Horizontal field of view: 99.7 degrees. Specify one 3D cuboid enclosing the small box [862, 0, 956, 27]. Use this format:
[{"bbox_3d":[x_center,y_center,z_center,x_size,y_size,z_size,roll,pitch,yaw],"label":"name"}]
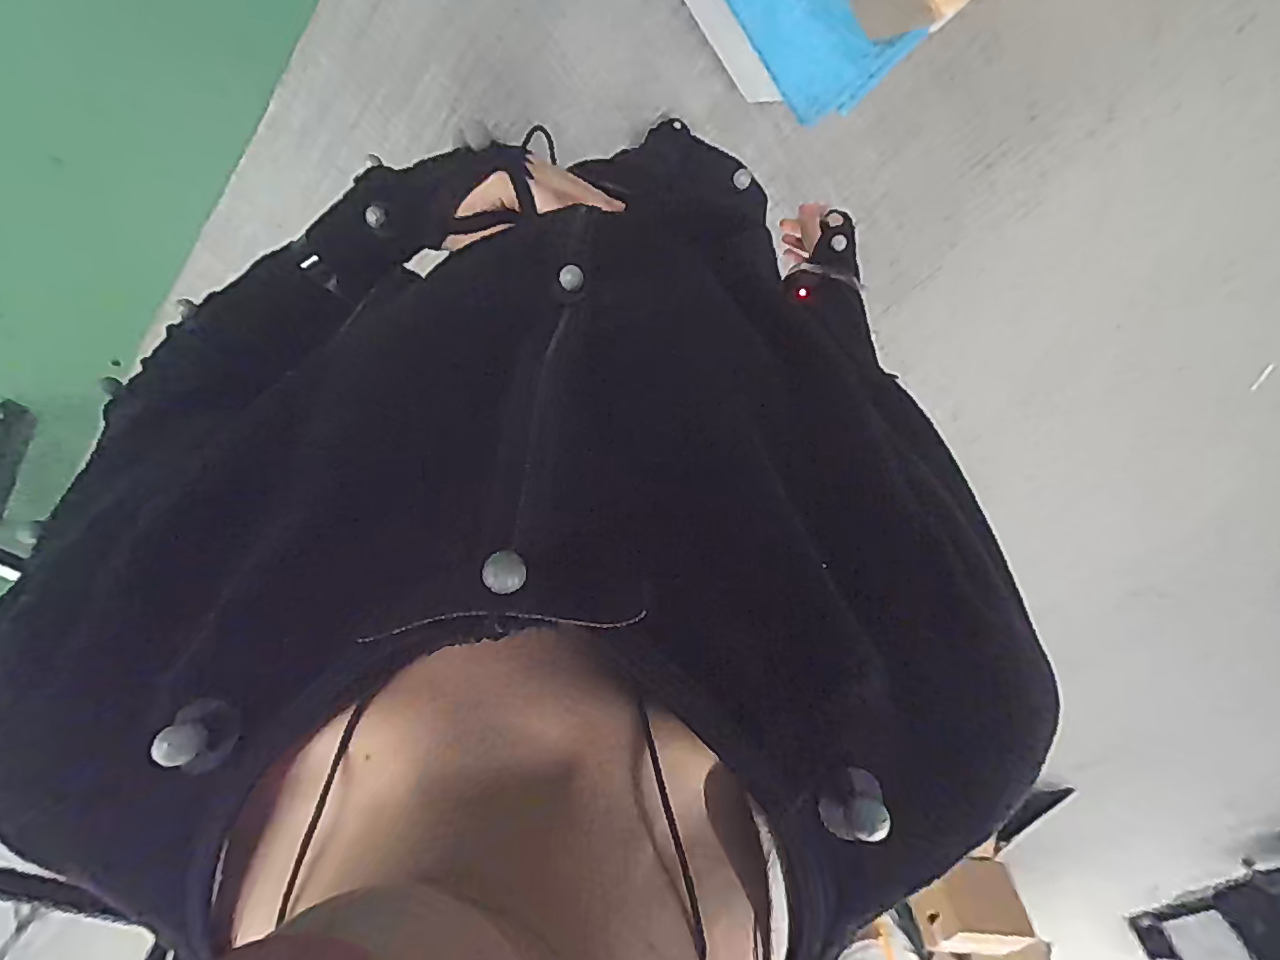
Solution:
[{"bbox_3d":[0.284,-0.567,0.495,0.179,0.176,0.168,-37,118,21],"label":"small box"}]
